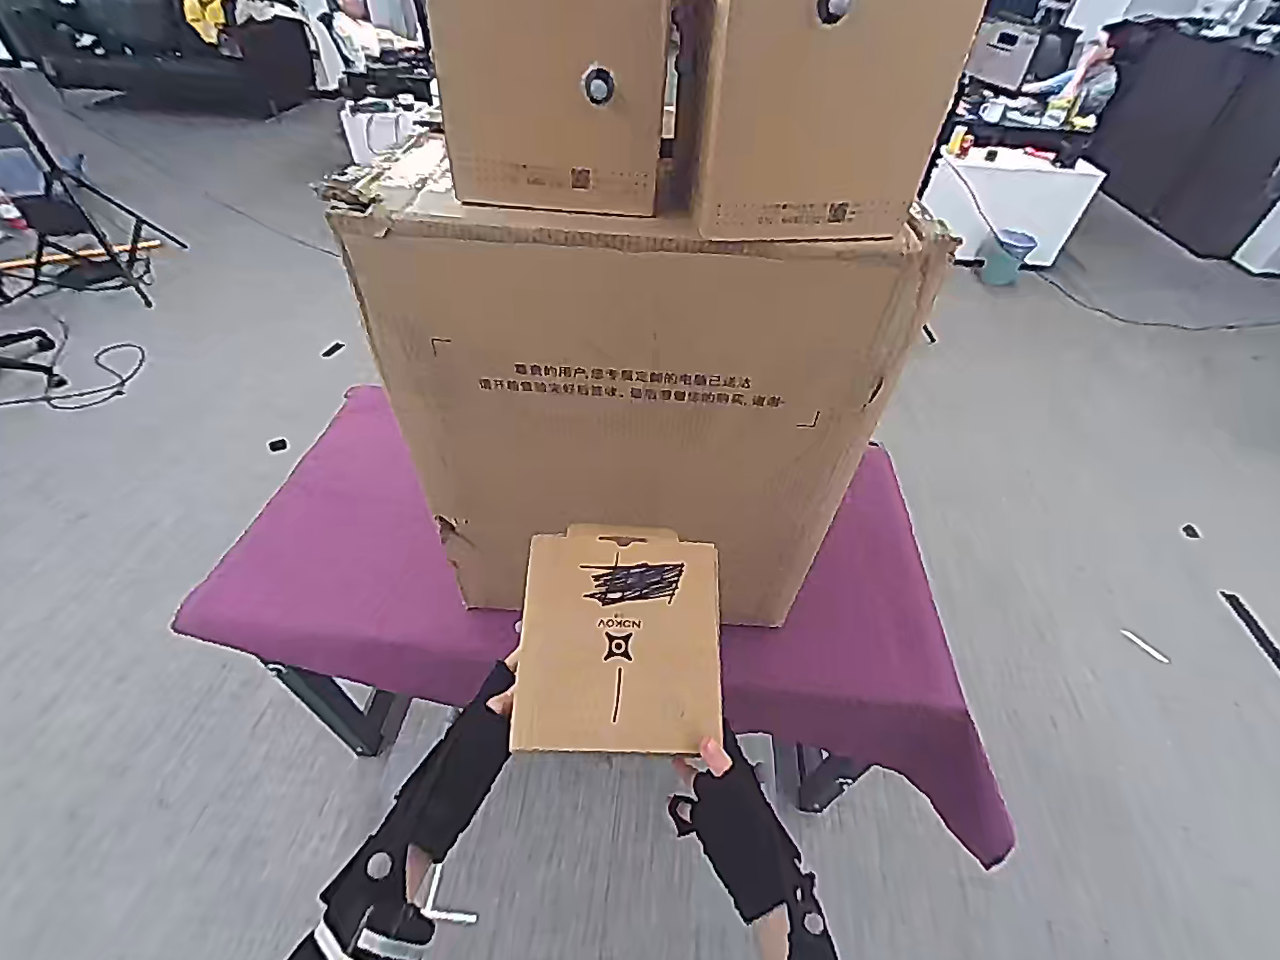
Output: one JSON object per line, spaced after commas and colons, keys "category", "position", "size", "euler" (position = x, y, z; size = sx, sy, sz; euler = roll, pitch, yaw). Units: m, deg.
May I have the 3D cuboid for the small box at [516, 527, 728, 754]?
{"category": "small box", "position": [-0.017, 0.160, 0.517], "size": [0.168, 0.176, 0.179], "euler": [3, 63, -3]}

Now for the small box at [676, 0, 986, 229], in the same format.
{"category": "small box", "position": [0.125, -0.317, 0.429], "size": [0.168, 0.176, 0.179], "euler": [-4, 45, -5]}

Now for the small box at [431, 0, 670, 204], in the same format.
{"category": "small box", "position": [-0.062, -0.348, 0.450], "size": [0.168, 0.176, 0.179], "euler": [4, 44, -3]}
